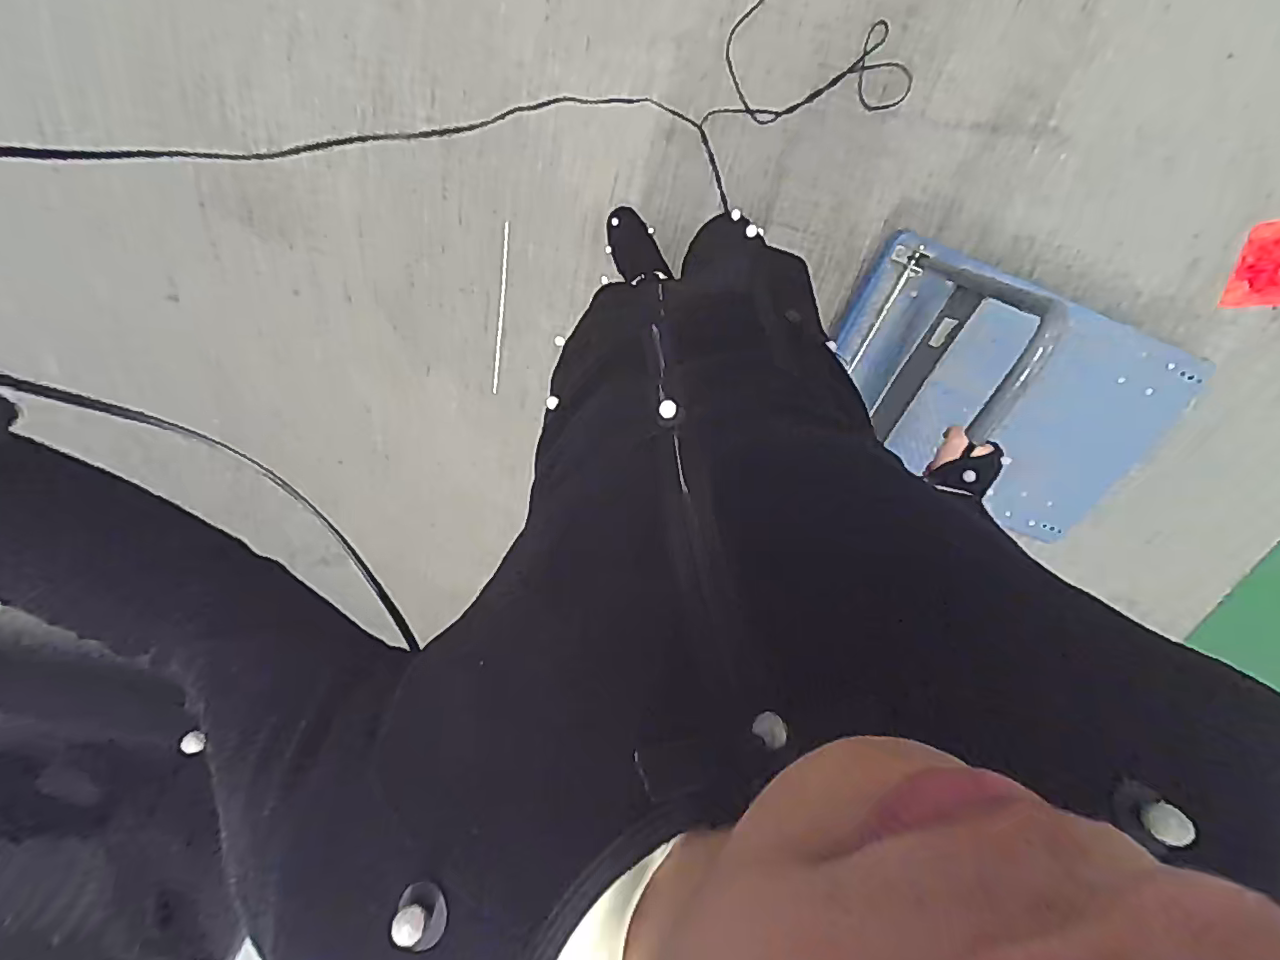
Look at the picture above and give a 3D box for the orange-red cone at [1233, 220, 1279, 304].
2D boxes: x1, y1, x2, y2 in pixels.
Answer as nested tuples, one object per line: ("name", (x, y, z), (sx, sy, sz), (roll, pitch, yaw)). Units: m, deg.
("orange-red cone", (1.575, -0.452, 1.168), (0.198, 0.360, 0.199), (-1, 117, 4))
